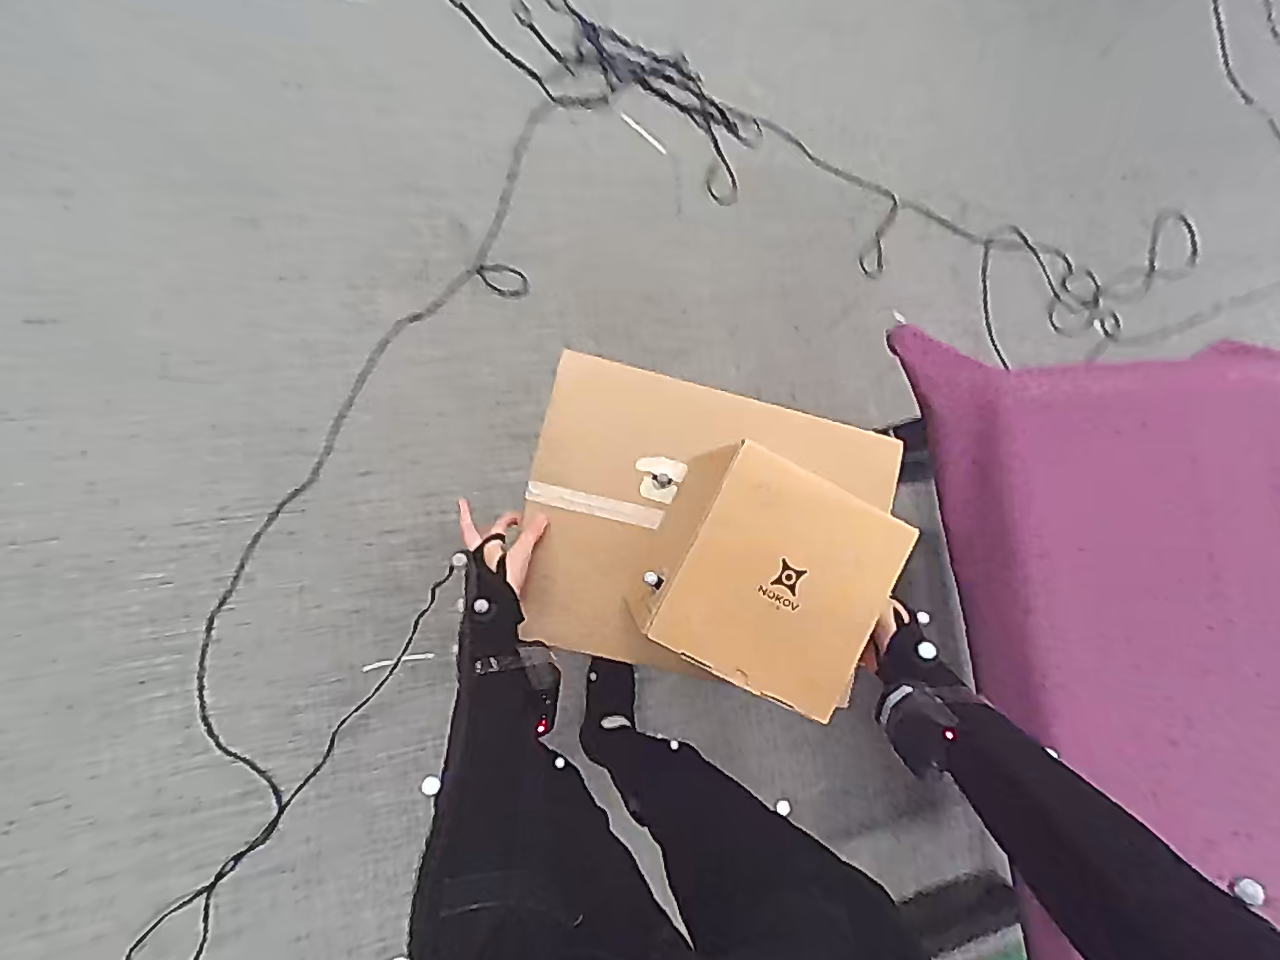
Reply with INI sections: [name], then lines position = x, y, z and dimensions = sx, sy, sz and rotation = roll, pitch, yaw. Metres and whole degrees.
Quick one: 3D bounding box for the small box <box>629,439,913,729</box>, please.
[small box]
position = 0.098, 0.080, 0.492
dimensions = 0.168, 0.176, 0.179
rotation = 27, 87, -6
